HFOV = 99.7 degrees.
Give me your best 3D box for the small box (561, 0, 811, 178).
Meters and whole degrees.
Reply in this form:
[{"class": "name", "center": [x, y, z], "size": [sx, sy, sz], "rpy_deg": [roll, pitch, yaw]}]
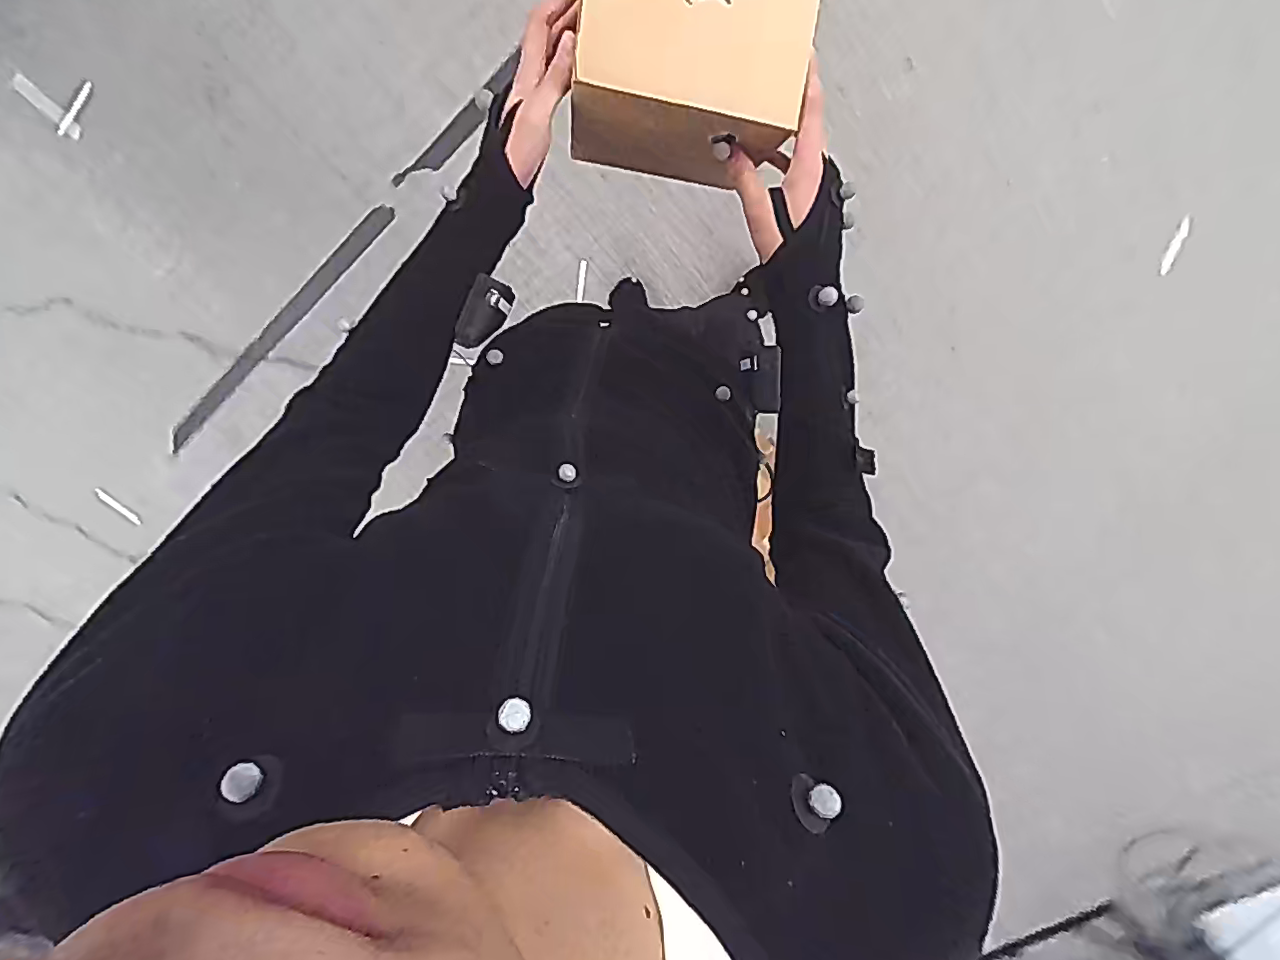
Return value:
[{"class": "small box", "center": [0.030, -0.375, 0.455], "size": [0.179, 0.176, 0.168], "rpy_deg": [5, 102, -7]}]
